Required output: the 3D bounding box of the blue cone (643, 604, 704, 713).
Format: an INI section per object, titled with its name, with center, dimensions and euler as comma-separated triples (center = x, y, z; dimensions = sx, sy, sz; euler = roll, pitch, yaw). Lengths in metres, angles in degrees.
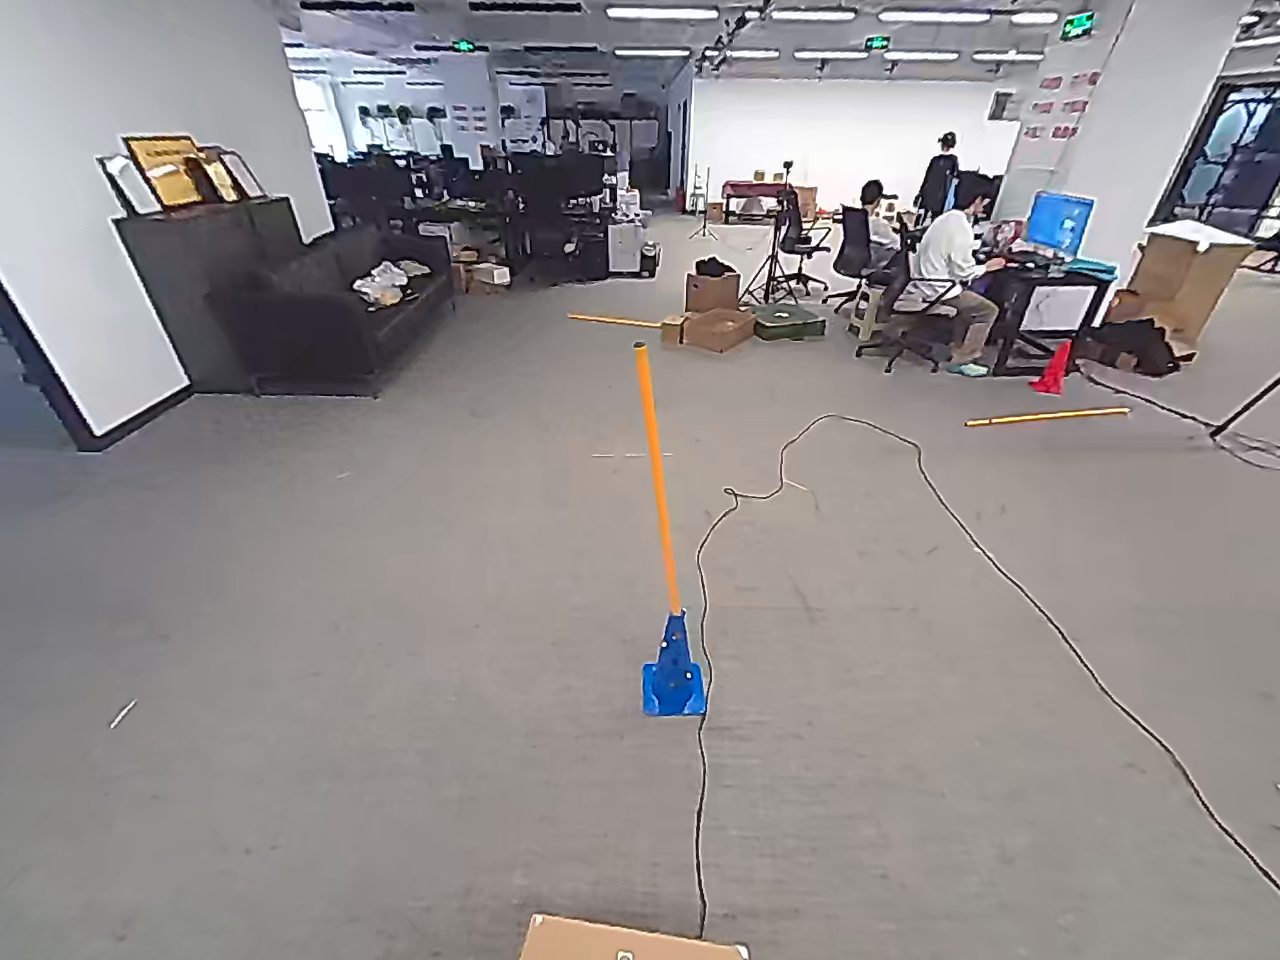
[blue cone]
center = 0.105, 0.542, 1.690
dimensions = 0.193, 0.380, 0.192
euler = -3, 32, -2
